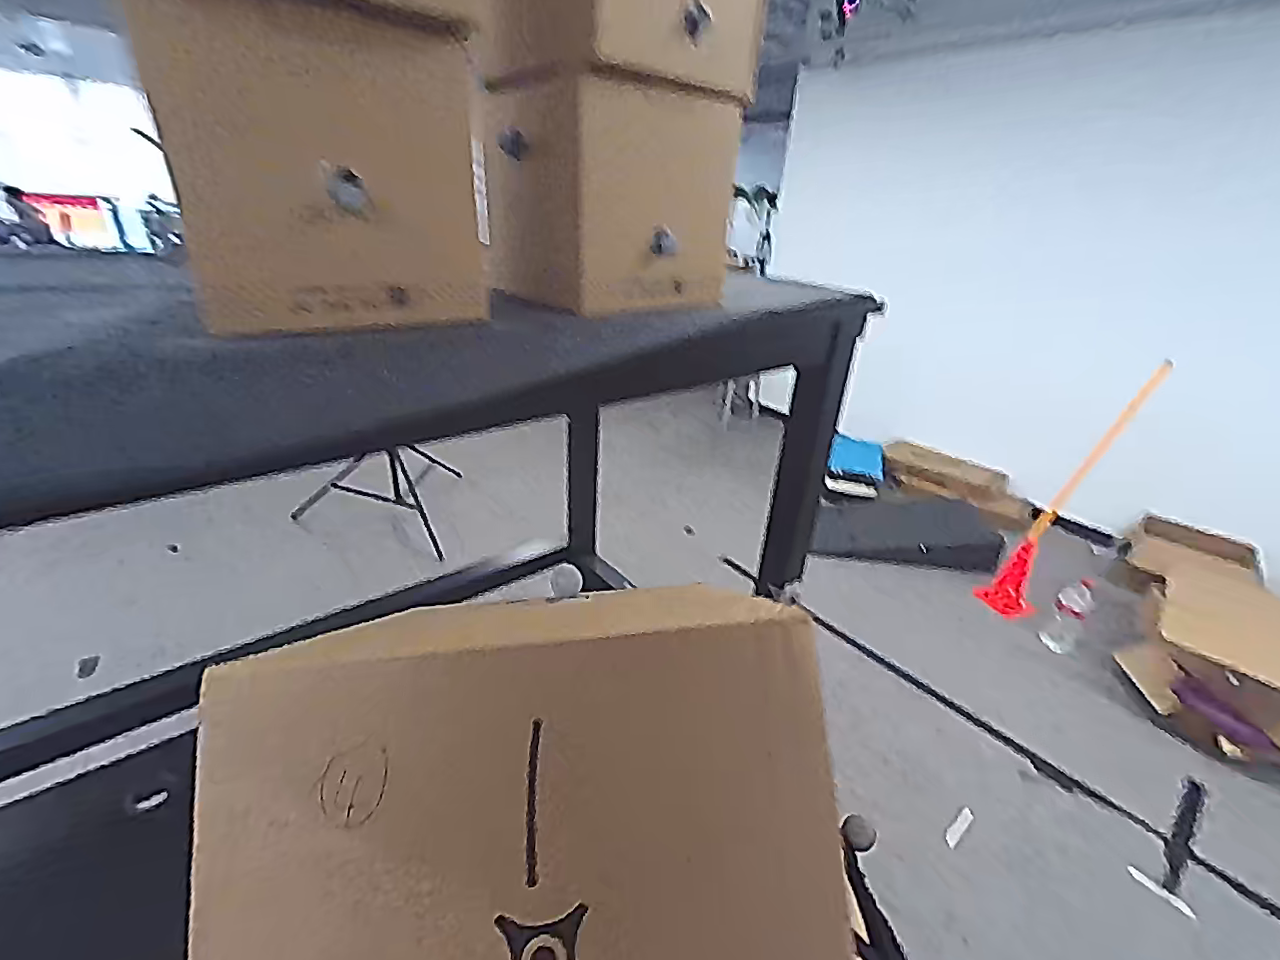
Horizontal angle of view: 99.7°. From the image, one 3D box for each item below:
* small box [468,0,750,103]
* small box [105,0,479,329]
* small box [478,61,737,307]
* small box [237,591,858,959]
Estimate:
[{"bbox_3d":[-0.019,-0.405,0.424,0.179,0.176,0.168,-20,34,-39],"label":"small box"},{"bbox_3d":[-0.222,-0.202,0.371,0.168,0.176,0.179,-16,32,-34],"label":"small box"},{"bbox_3d":[-0.036,-0.261,0.506,0.168,0.176,0.179,-19,34,-35],"label":"small box"},{"bbox_3d":[-0.026,0.144,0.223,0.168,0.179,0.176,-4,-9,-4],"label":"small box"}]
